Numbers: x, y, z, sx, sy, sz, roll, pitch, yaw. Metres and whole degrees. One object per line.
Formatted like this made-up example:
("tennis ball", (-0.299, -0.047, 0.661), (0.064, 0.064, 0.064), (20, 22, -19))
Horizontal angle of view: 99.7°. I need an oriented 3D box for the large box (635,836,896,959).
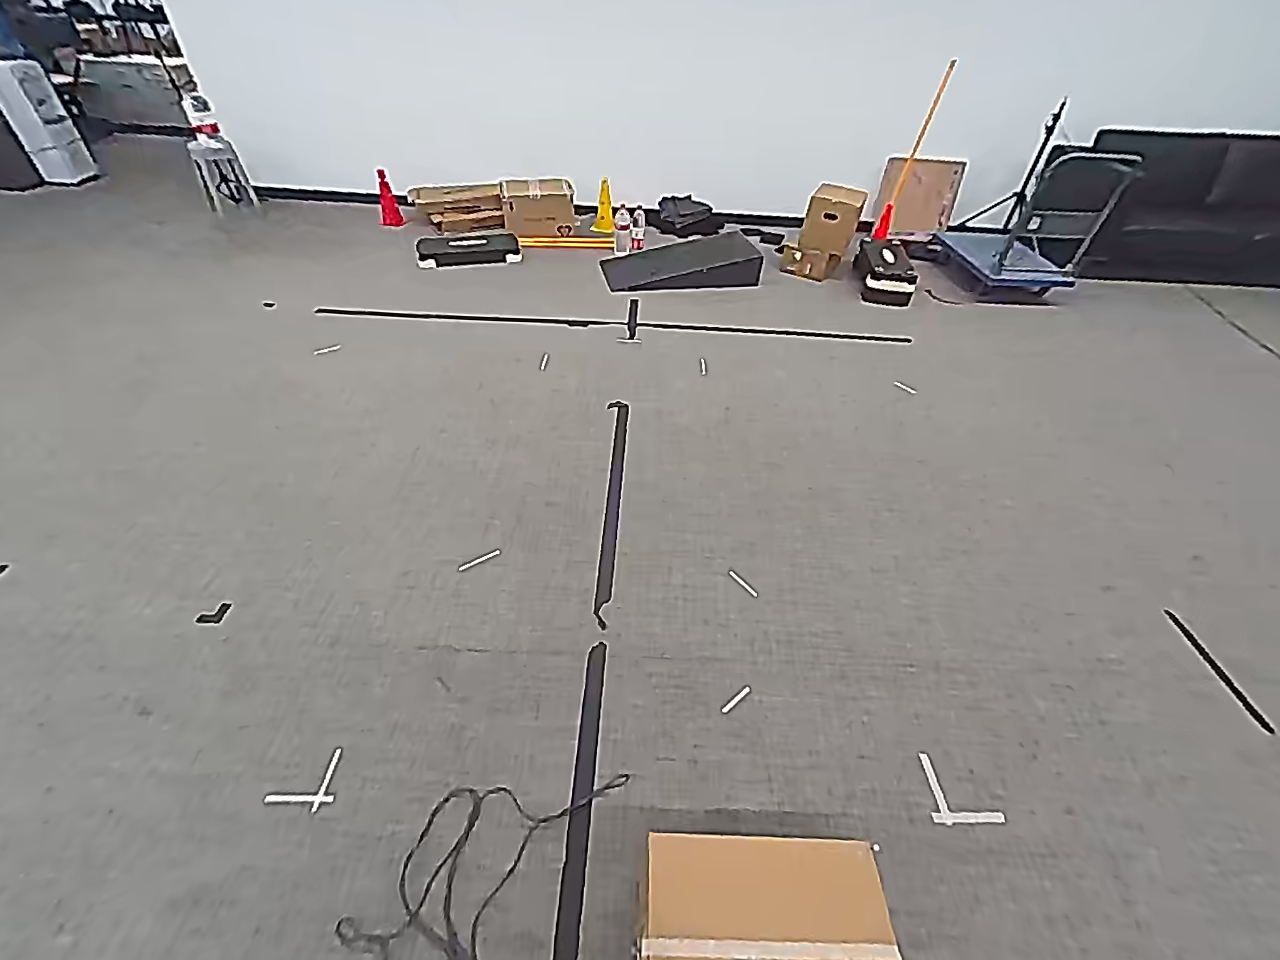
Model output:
("large box", (0.199, 0.859, 0.954), (0.408, 0.320, 0.320), (4, 42, -2))
